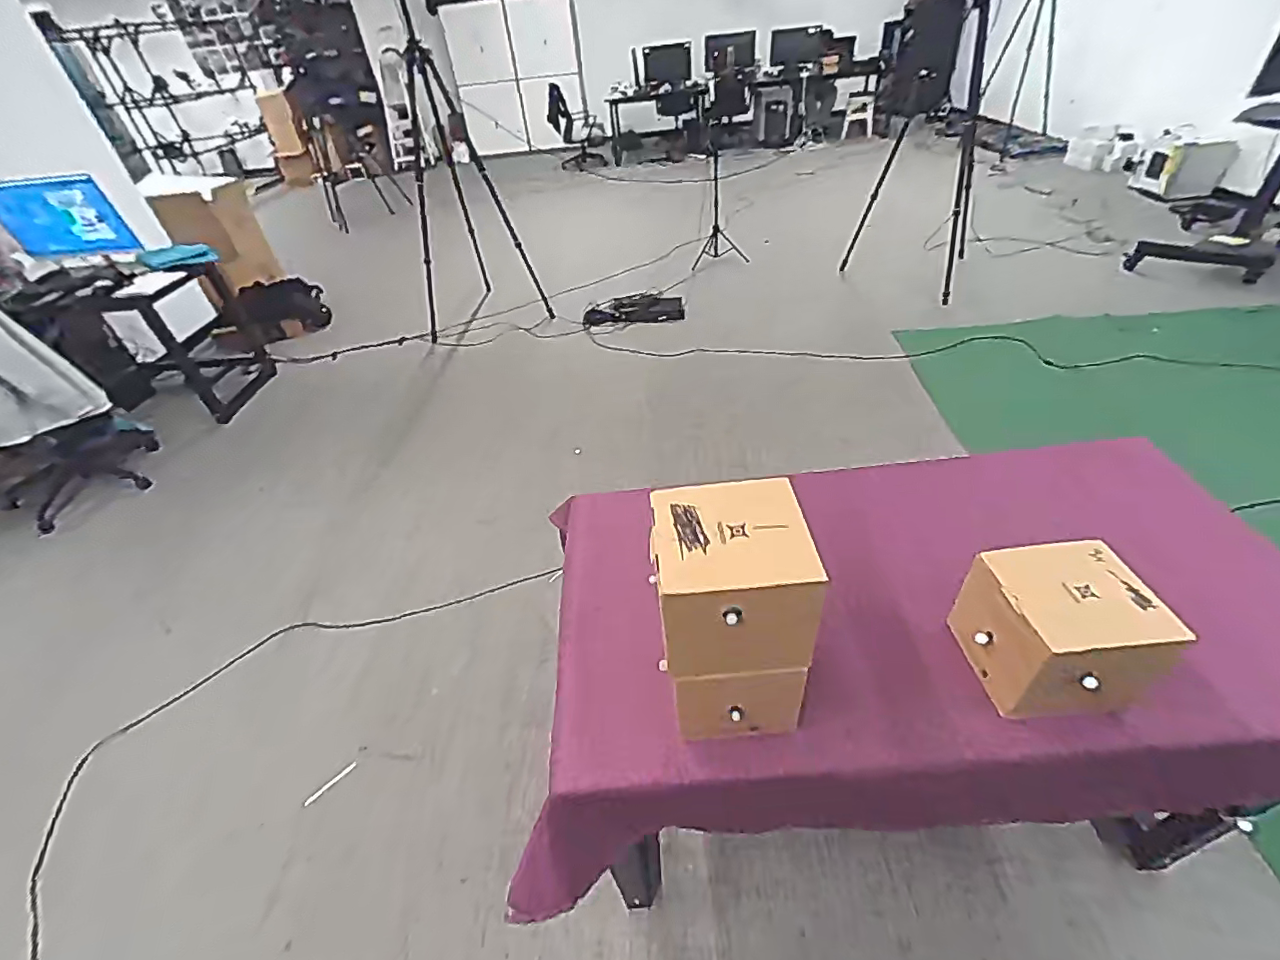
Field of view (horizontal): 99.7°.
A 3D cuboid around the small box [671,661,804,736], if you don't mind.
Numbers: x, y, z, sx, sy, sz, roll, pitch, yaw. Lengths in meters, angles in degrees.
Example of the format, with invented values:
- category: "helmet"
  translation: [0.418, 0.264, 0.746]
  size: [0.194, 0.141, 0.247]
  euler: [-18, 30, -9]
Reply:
- category: "small box"
  translation: [0.127, 0.247, 0.773]
  size: [0.168, 0.176, 0.179]
  euler: [-5, 40, 2]

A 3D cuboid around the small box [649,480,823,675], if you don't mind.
- category: "small box"
  translation: [0.109, 0.122, 0.666]
  size: [0.179, 0.176, 0.168]
  euler: [-6, 40, 1]

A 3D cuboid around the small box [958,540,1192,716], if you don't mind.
- category: "small box"
  translation: [0.572, 0.207, 0.749]
  size: [0.179, 0.176, 0.168]
  euler: [-7, 40, 2]
